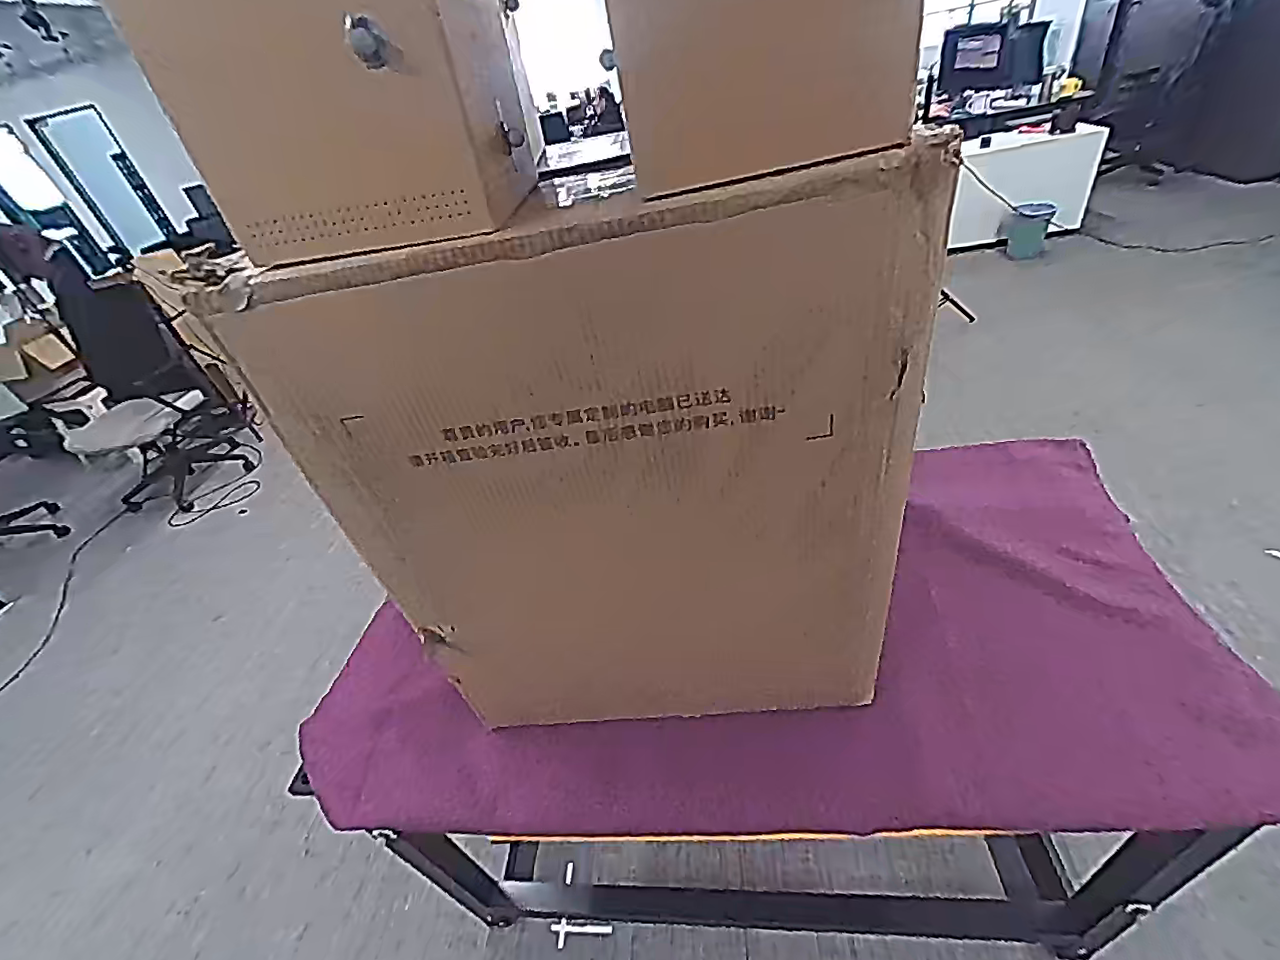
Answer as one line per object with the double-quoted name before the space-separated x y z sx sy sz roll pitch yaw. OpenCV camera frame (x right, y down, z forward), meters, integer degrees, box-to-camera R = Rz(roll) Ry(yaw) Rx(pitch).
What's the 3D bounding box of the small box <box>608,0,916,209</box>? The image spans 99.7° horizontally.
"small box" 0.068 -0.297 0.345 0.168 0.176 0.179 -8 37 8
